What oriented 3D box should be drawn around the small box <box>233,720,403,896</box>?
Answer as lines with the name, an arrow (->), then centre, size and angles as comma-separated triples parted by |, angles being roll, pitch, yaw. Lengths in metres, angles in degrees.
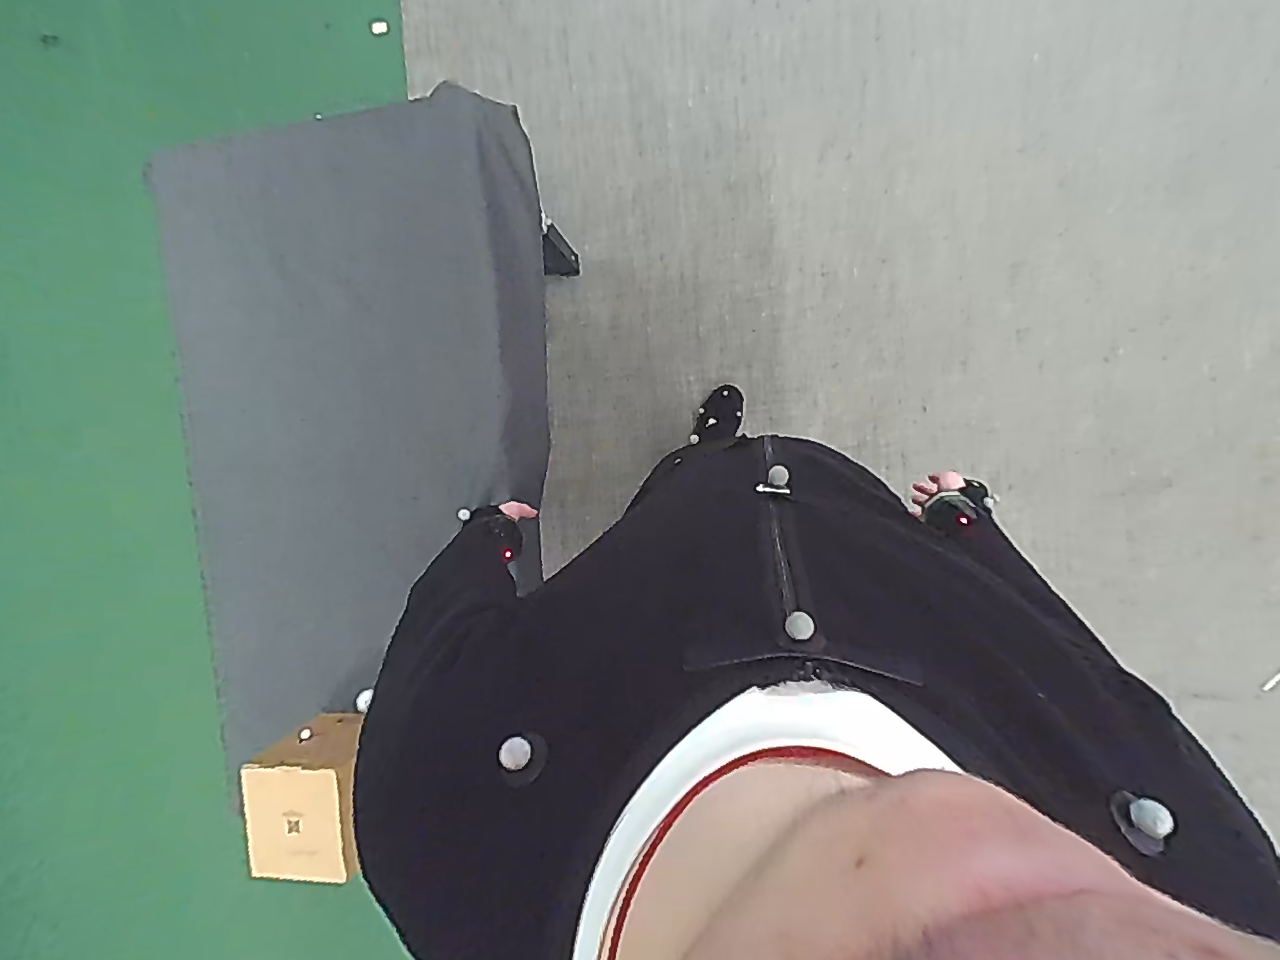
small box -> -0.501, 0.506, 0.862 | 0.168, 0.176, 0.179 | -1, 93, 11
